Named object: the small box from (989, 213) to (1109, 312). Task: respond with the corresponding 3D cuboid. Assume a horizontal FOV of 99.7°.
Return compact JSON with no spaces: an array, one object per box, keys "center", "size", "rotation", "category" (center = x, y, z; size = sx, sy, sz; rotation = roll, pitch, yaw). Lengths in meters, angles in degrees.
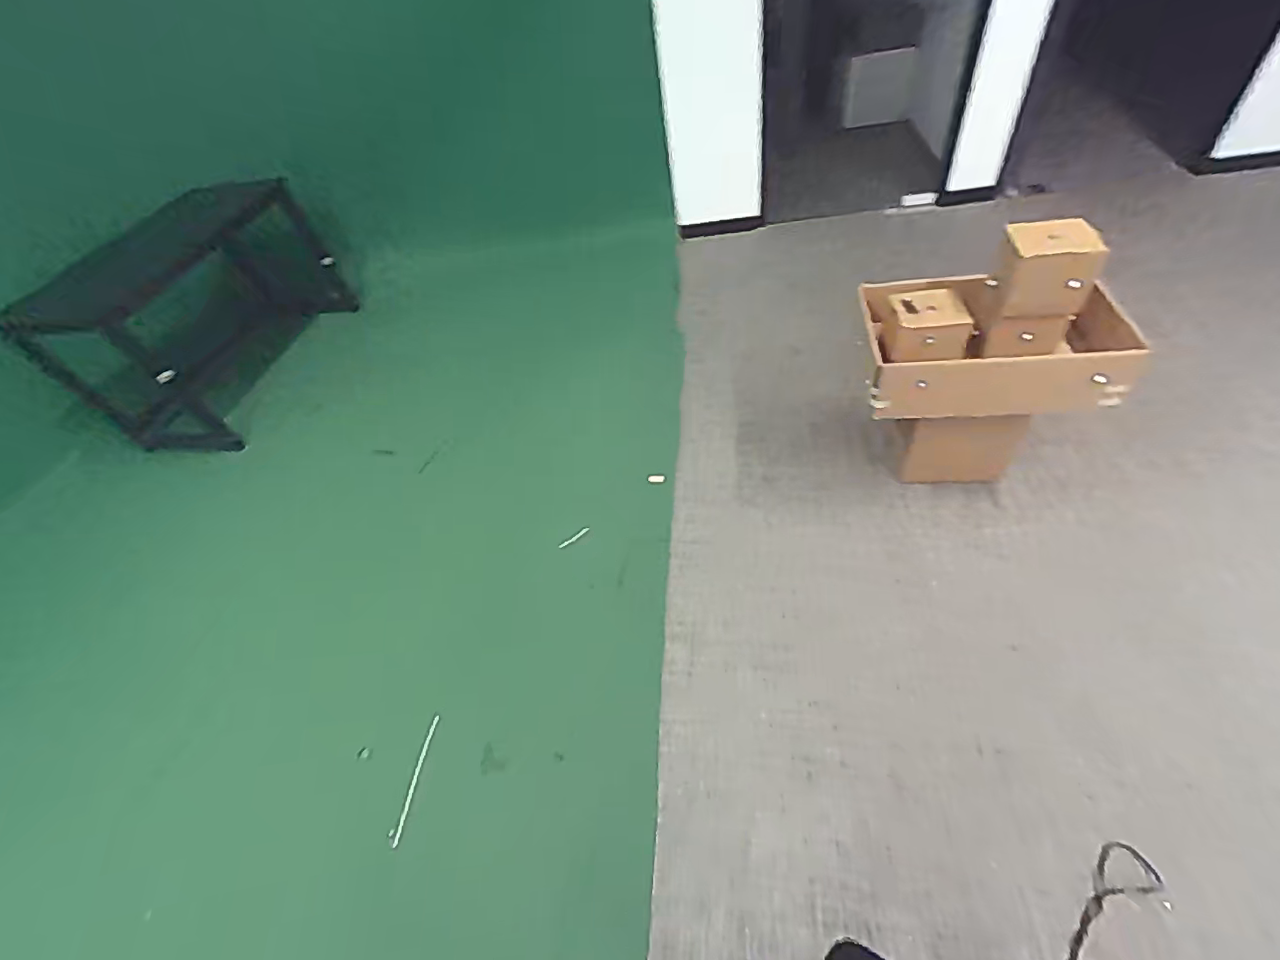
[{"center":[1.009,-0.539,1.352],"size":[0.179,0.176,0.168],"rotation":[1,50,15],"category":"small box"}]
